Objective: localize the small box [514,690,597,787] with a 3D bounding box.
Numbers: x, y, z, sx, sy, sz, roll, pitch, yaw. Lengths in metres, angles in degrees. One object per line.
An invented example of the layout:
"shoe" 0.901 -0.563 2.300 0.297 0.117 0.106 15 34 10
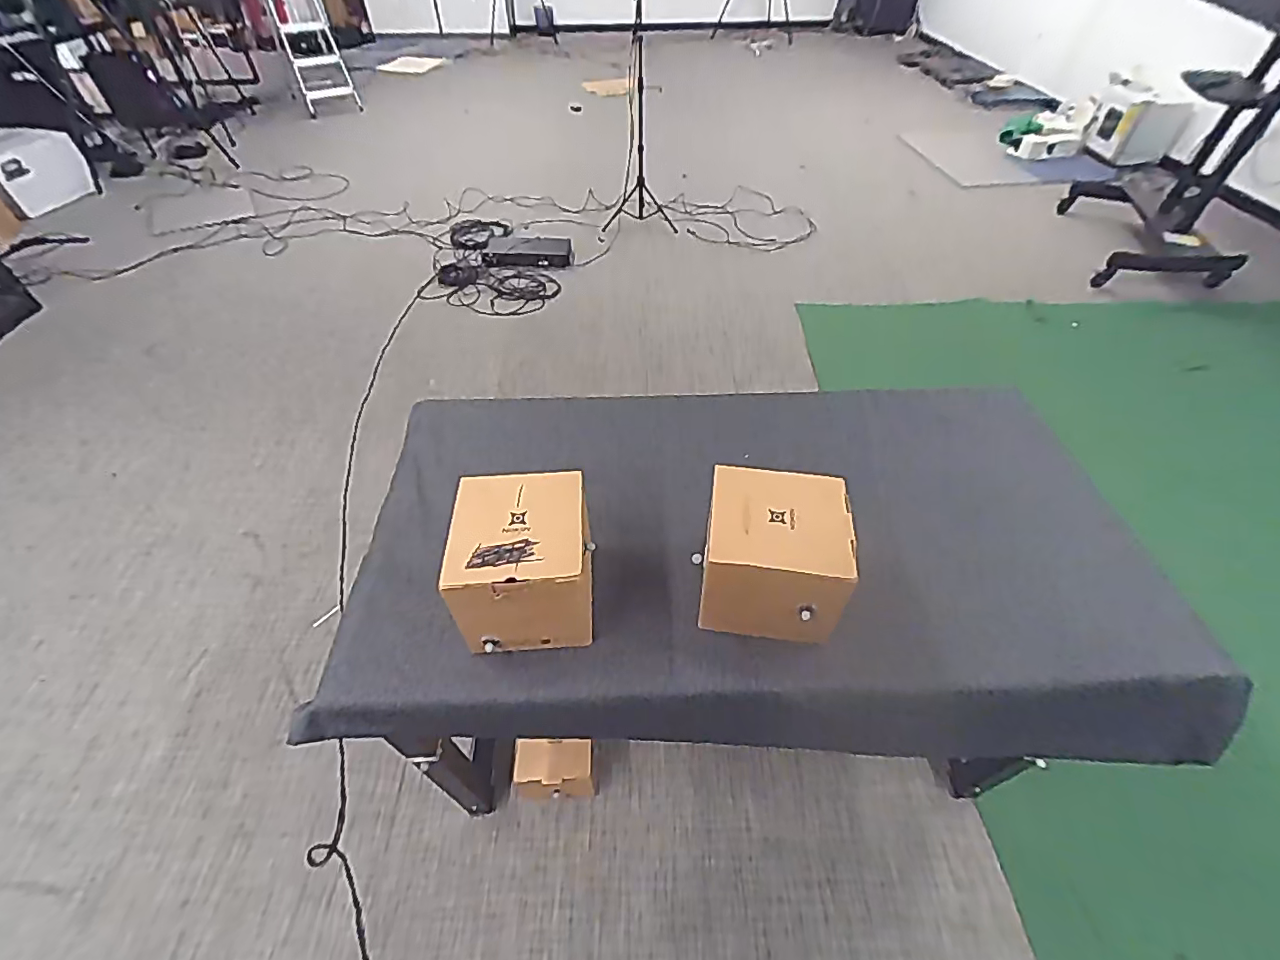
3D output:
"small box" -0.190 0.612 1.272 0.168 0.176 0.179 -1 49 -1

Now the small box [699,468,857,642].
"small box" 0.180 0.106 0.748 0.179 0.176 0.168 6 47 7

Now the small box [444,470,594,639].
"small box" -0.150 0.107 0.742 0.168 0.176 0.179 -2 47 -2
